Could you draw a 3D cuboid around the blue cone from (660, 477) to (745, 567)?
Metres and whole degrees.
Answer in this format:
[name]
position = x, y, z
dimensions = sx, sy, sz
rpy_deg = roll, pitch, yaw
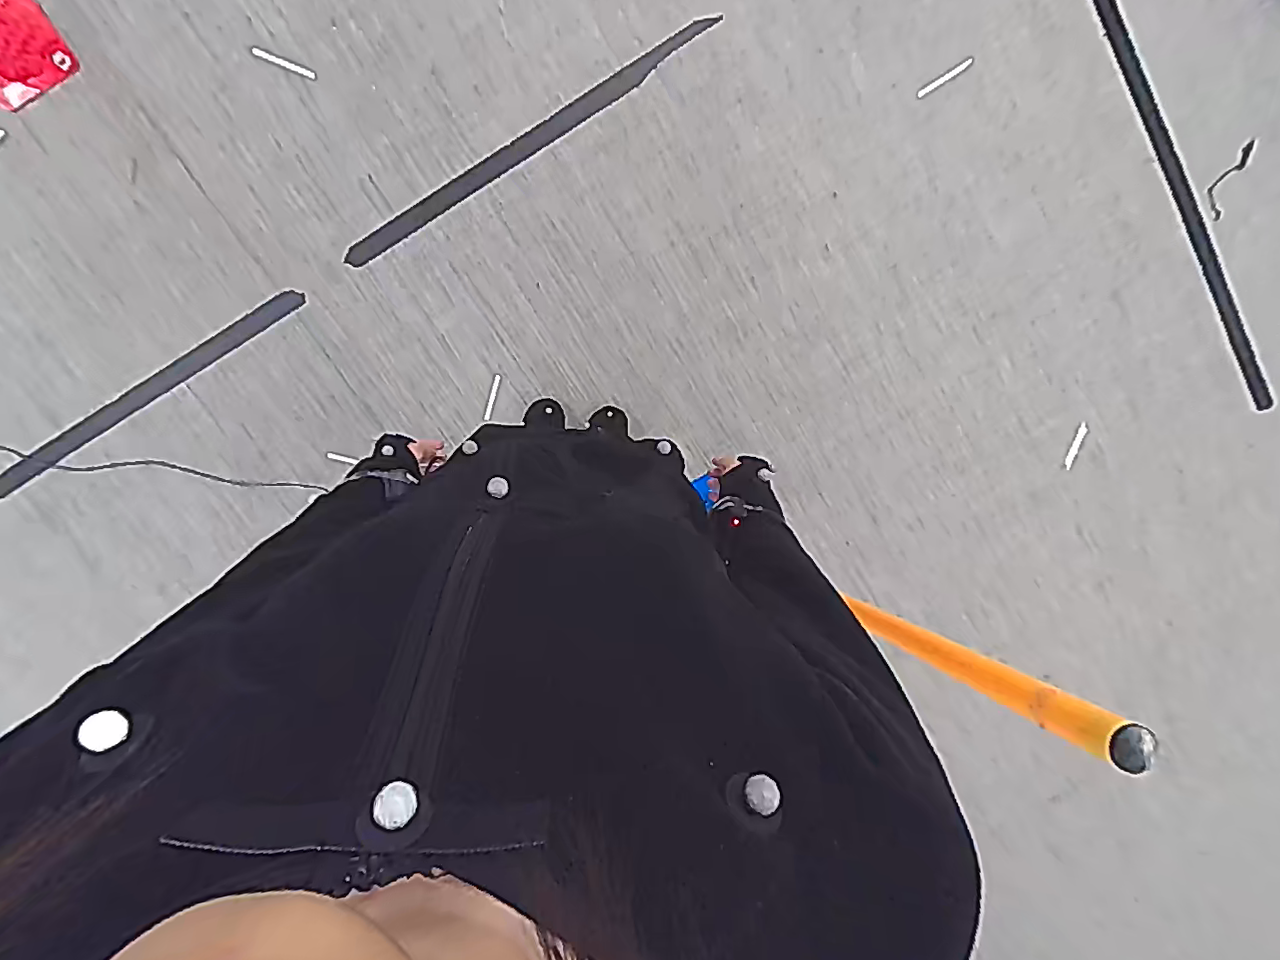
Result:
[blue cone]
position = 0.182, 0.129, 1.288
dimensions = 0.192, 0.380, 0.193
rpy_deg = -29, 100, 2
